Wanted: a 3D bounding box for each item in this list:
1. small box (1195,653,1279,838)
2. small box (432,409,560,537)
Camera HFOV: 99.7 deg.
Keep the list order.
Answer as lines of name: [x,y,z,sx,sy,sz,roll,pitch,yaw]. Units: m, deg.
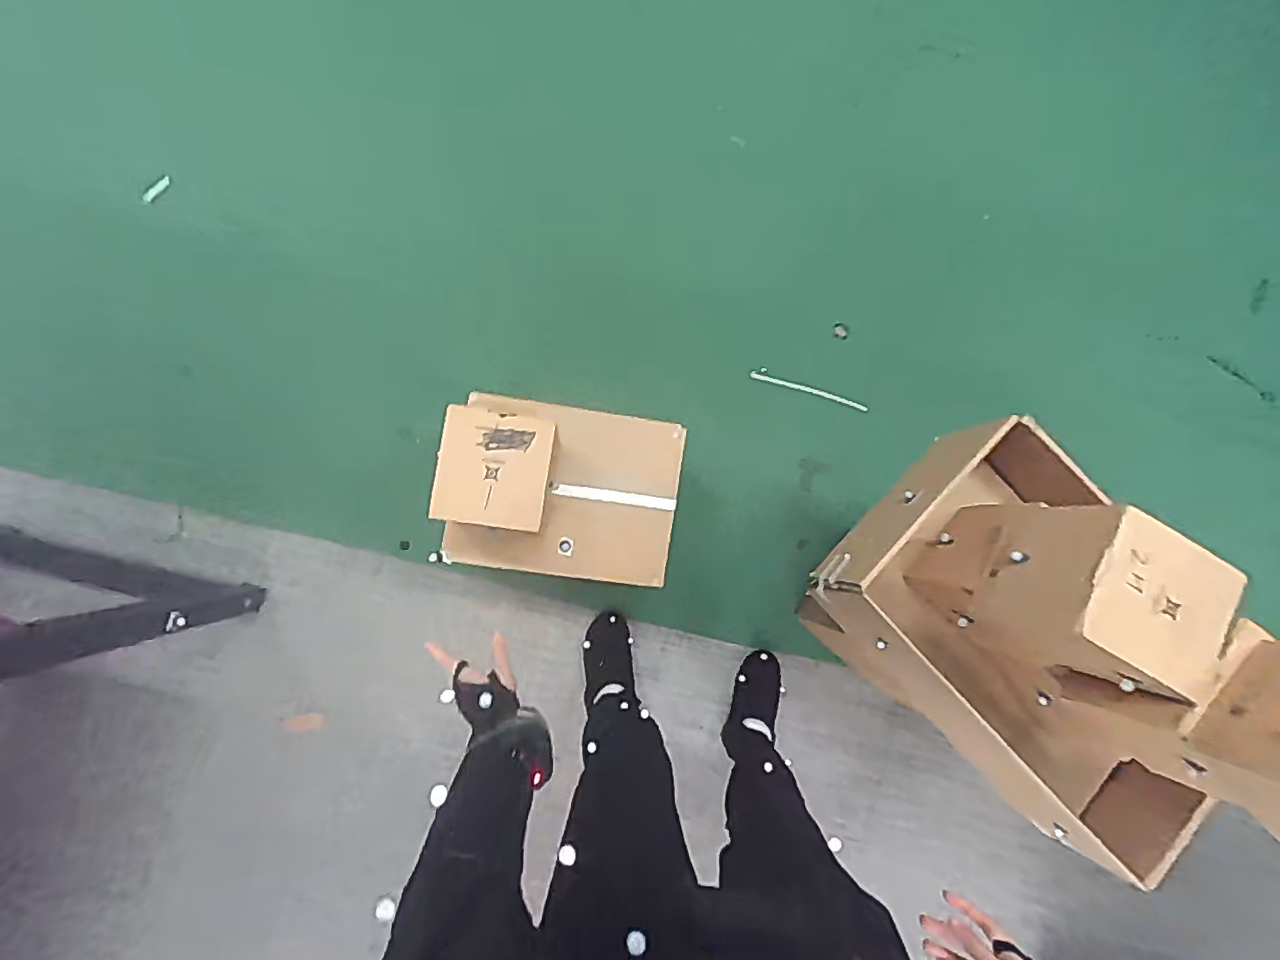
small box: [0.724,0.287,0.526,0.168,0.176,0.179,-44,87,-8]
small box: [-0.226,-0.003,0.898,0.168,0.176,0.179,8,83,-5]
